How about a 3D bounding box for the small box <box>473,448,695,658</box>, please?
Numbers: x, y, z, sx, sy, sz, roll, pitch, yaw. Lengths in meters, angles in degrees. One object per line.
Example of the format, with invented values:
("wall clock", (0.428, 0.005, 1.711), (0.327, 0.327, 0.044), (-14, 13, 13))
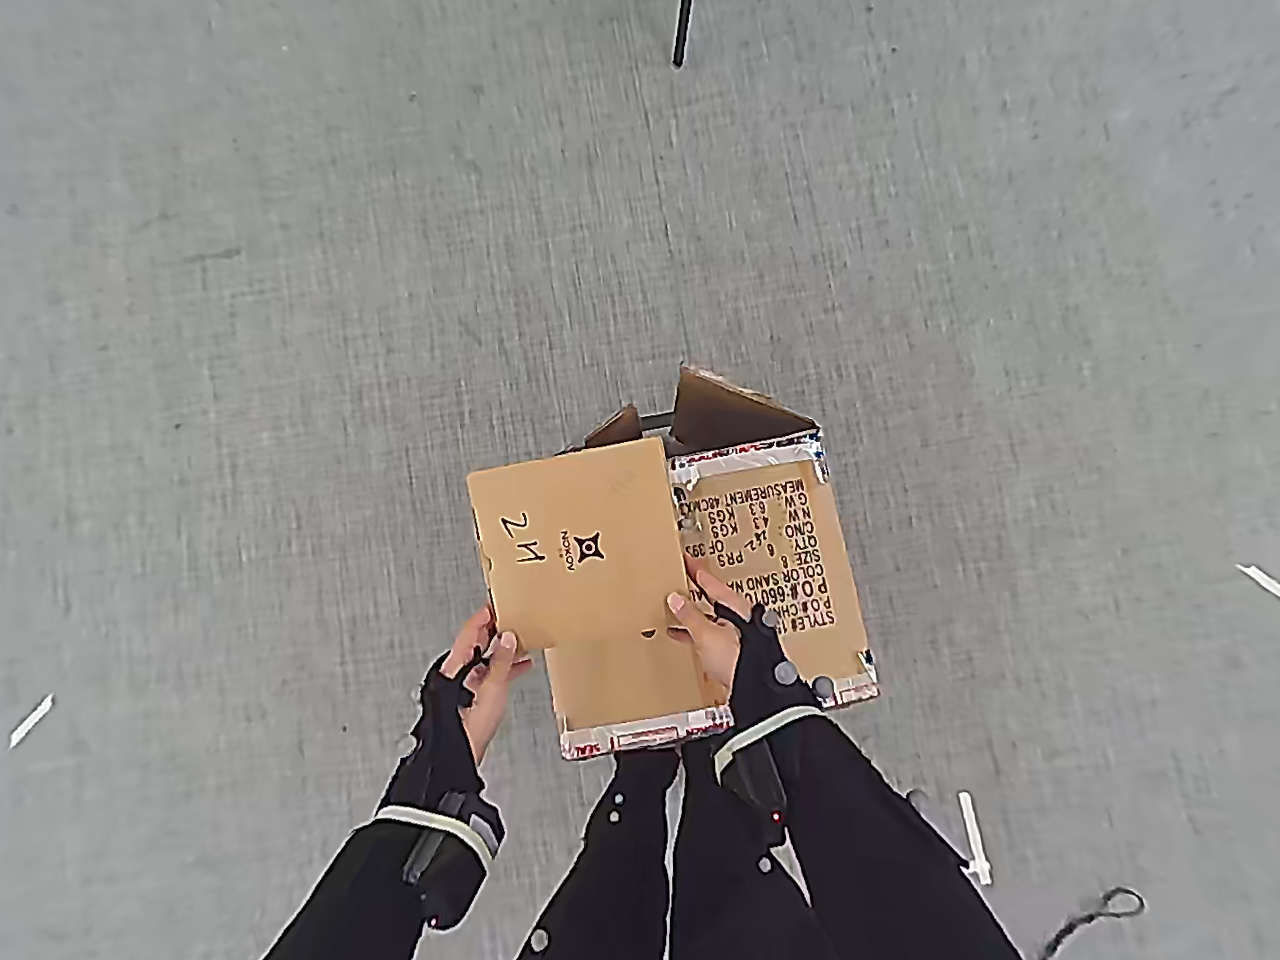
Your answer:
("small box", (-0.047, 0.062, 0.556), (0.179, 0.176, 0.168), (-11, 91, 3))
